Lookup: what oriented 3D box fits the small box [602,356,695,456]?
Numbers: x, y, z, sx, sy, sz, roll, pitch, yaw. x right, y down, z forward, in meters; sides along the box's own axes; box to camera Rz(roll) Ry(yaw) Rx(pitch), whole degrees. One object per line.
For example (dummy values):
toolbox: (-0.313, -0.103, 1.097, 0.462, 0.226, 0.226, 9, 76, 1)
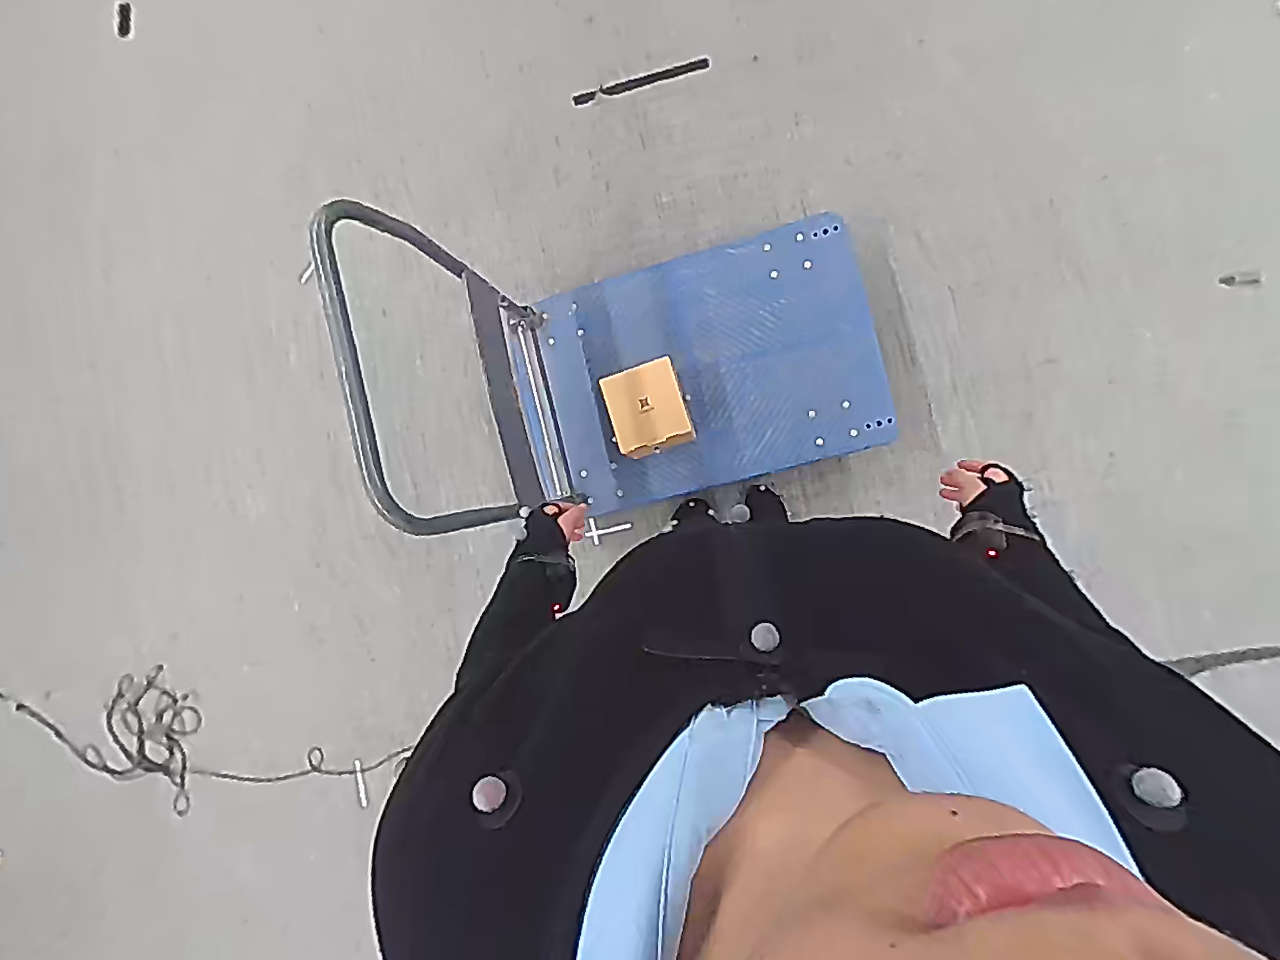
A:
small box: (0.025, -0.164, 1.263, 0.168, 0.176, 0.179, -18, 87, 8)
